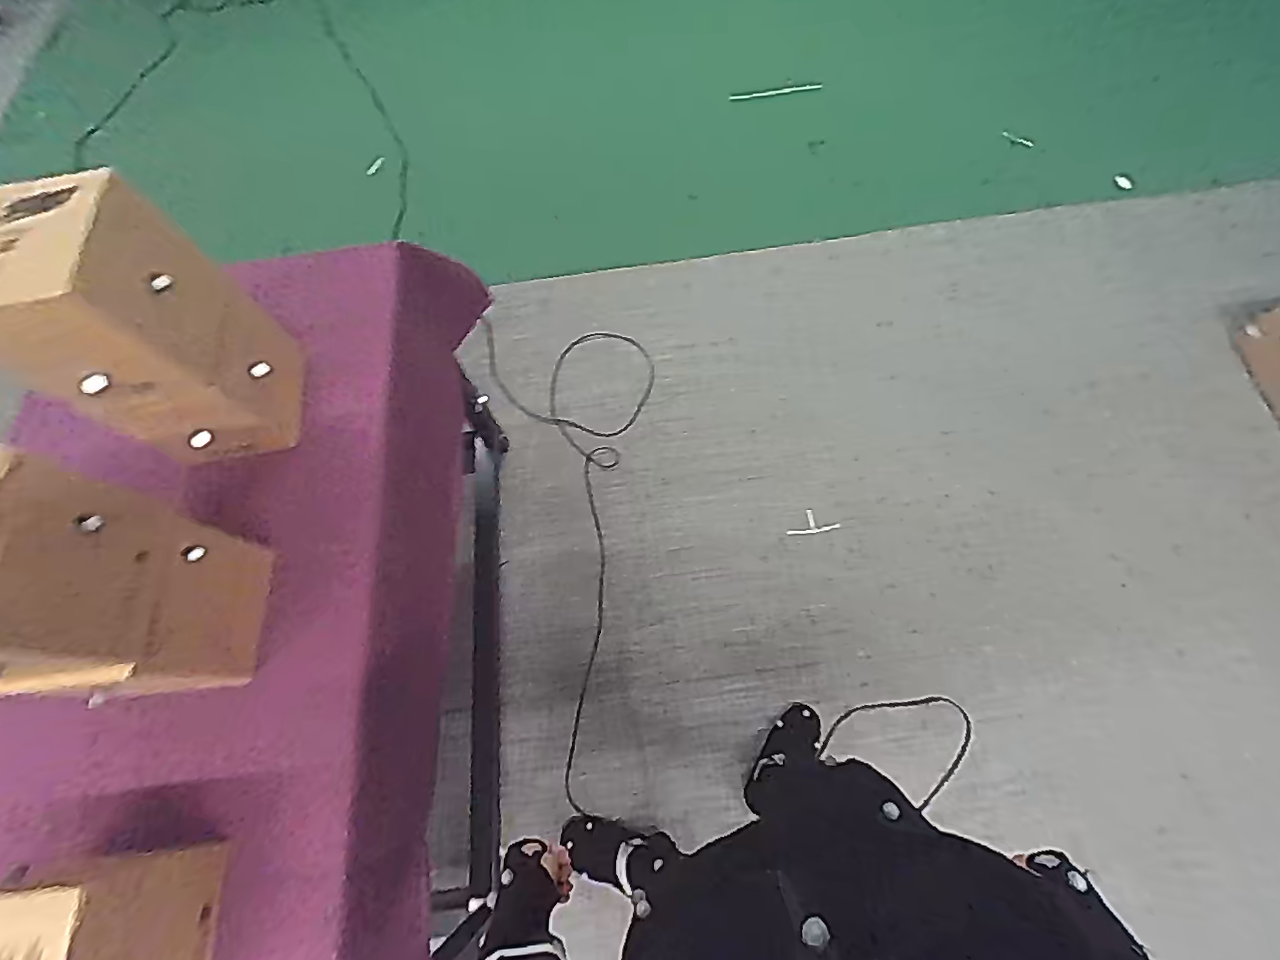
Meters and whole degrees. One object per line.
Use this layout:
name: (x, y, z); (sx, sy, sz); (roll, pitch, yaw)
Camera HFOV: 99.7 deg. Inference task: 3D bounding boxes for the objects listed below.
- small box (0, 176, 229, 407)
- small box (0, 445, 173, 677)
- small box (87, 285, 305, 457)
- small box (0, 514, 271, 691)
small box: (-0.624, -0.208, 0.625); (0.168, 0.176, 0.179); (-9, 67, 1)
small box: (-0.599, 0.086, 0.505); (0.179, 0.176, 0.168); (-8, 65, 2)
small box: (-0.616, -0.144, 0.777); (0.168, 0.176, 0.179); (-10, 68, 0)
small box: (-0.587, 0.156, 0.652); (0.168, 0.176, 0.179); (-7, 66, 2)
